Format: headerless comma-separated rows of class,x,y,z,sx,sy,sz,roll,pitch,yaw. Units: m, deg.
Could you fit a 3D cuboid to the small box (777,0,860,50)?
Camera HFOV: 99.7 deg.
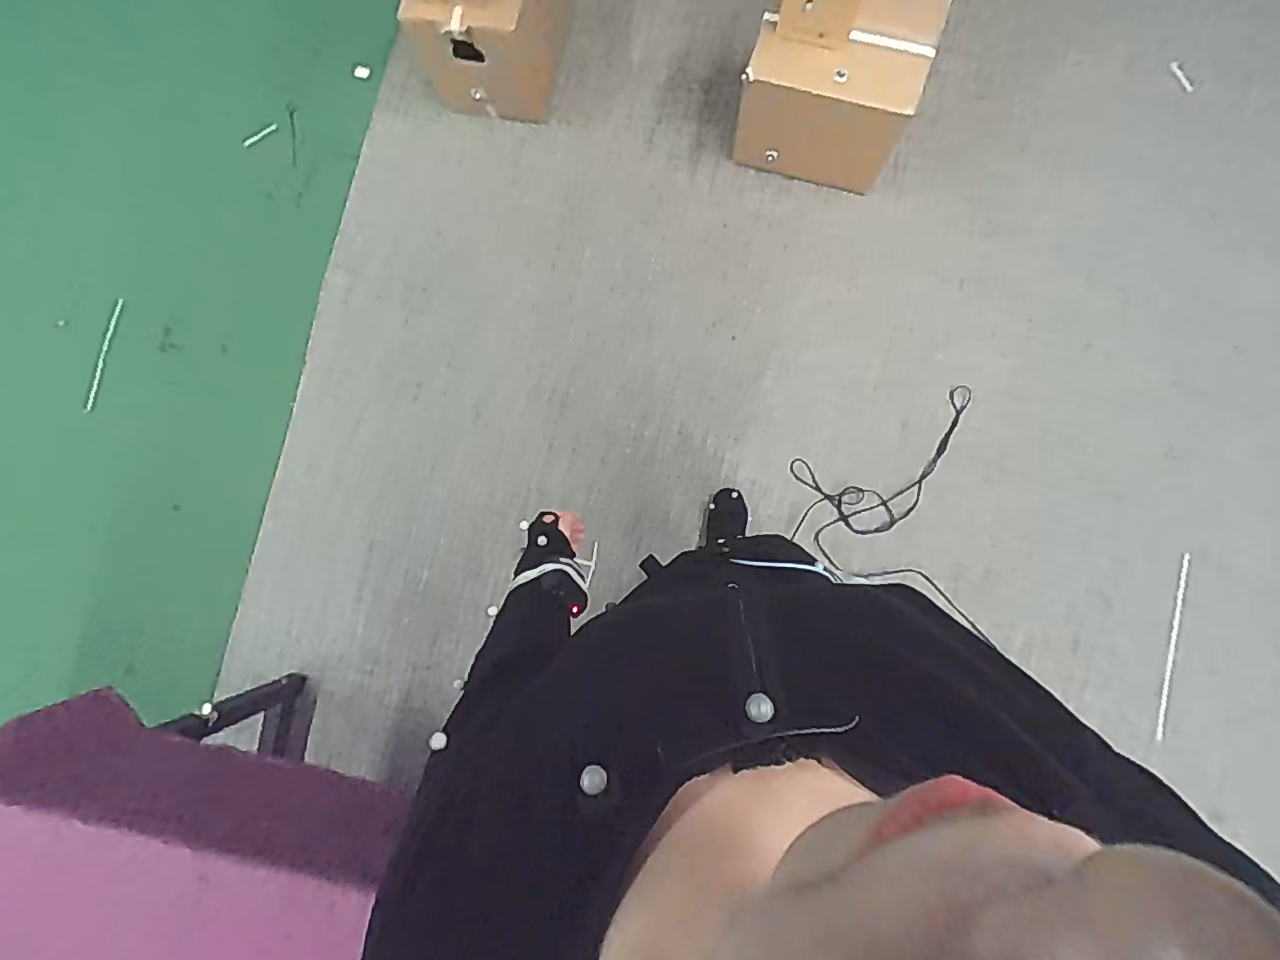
small box,0.412,-1.104,1.190,0.168,0.176,0.179,18,85,5

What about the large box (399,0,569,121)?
large box,-0.414,-1.308,1.511,0.320,0.320,0.408,11,85,5

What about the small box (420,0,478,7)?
small box,-0.462,-1.263,1.266,0.179,0.176,0.168,10,85,6
